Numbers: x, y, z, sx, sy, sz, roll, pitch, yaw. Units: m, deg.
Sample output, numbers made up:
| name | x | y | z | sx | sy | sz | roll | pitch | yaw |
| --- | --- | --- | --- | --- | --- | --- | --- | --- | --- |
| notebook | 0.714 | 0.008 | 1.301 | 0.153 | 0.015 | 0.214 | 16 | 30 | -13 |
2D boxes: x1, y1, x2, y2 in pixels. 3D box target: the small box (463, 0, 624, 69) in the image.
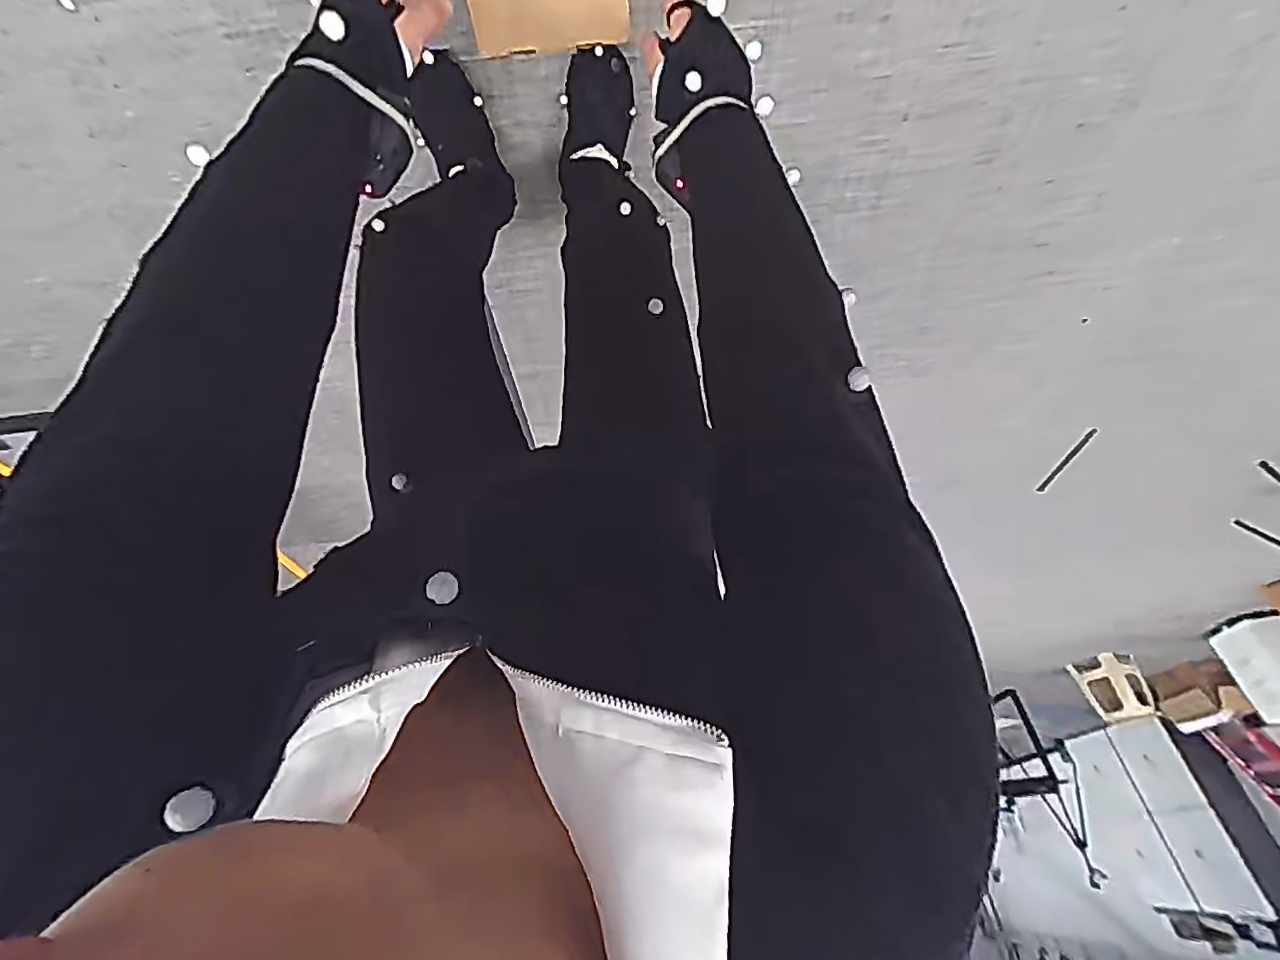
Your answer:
| name | x | y | z | sx | sy | sz | roll | pitch | yaw |
| --- | --- | --- | --- | --- | --- | --- | --- | --- | --- |
| small box | -0.106 | -0.577 | 0.573 | 0.168 | 0.176 | 0.179 | -6 | 145 | 0 |
